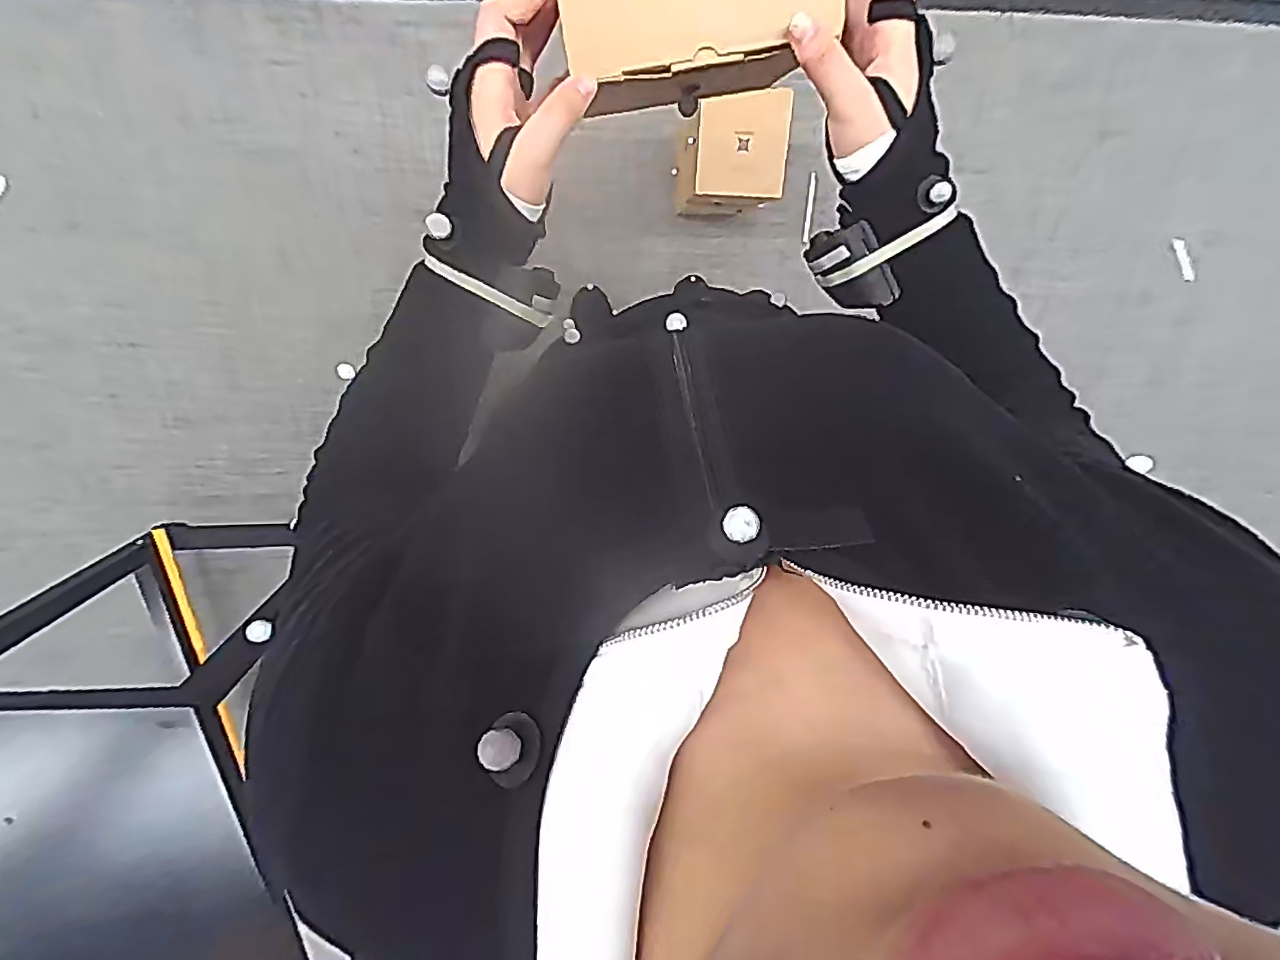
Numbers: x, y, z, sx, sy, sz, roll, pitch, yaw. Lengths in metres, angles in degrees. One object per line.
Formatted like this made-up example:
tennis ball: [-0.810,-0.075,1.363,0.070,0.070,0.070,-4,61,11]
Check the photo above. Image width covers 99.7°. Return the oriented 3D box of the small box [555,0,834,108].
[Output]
small box: [0.023,-0.363,0.359,0.168,0.176,0.179,-9,120,1]

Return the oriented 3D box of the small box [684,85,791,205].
small box: [0.180,-0.644,1.054,0.168,0.176,0.179,1,113,-3]

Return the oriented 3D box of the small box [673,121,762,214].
small box: [0.174,-0.694,1.209,0.179,0.176,0.168,-1,112,-3]
